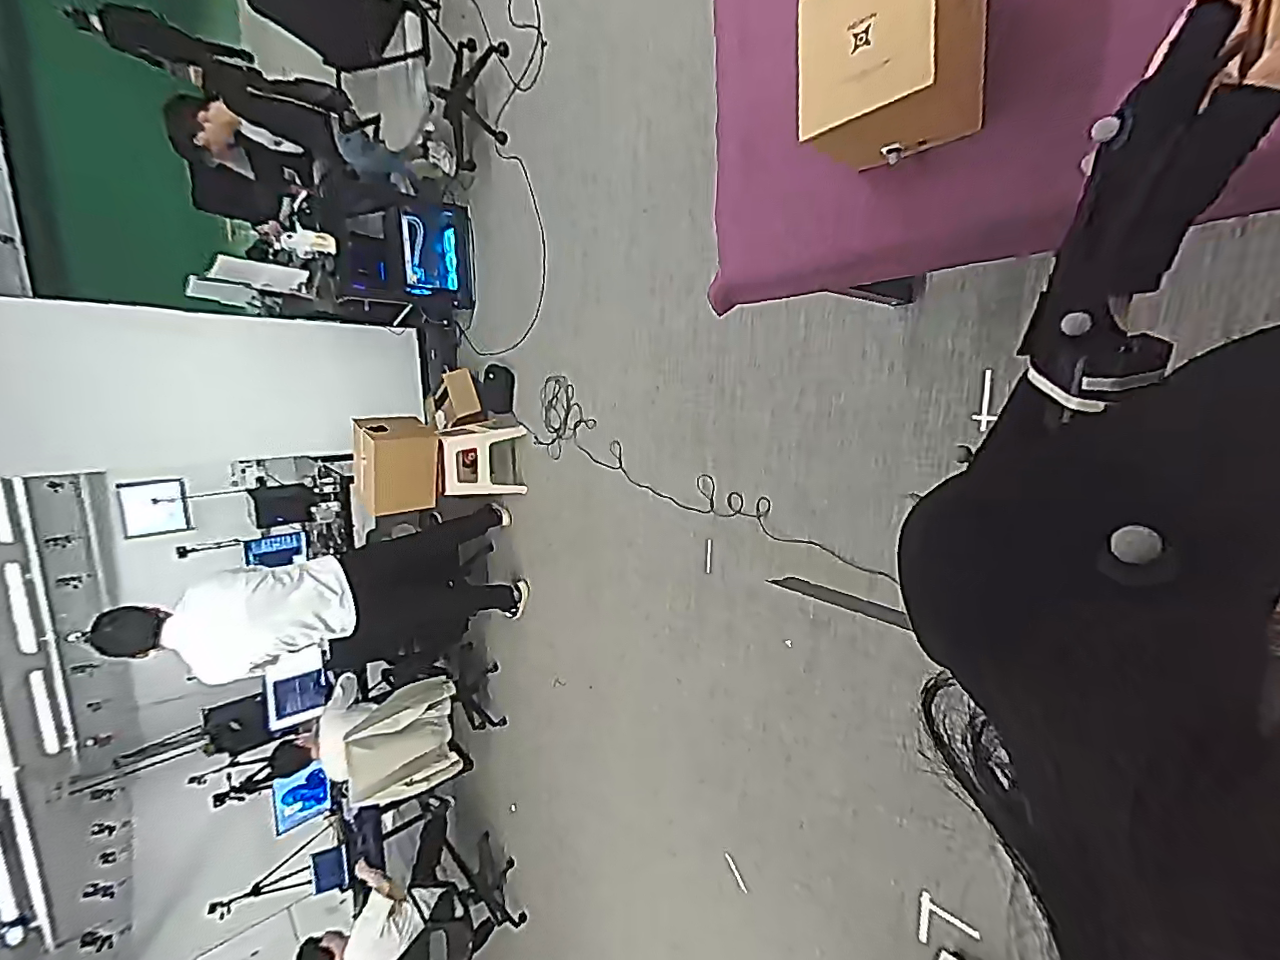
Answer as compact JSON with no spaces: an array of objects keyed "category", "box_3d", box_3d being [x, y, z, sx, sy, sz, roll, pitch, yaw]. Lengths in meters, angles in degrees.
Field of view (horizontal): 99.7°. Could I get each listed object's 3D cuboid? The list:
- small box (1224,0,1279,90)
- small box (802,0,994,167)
[{"category":"small box","box_3d":[0.394,-0.305,0.228,0.179,0.176,0.168,4,128,41]},{"category":"small box","box_3d":[0.320,-0.527,0.673,0.168,0.176,0.179,5,102,49]}]
